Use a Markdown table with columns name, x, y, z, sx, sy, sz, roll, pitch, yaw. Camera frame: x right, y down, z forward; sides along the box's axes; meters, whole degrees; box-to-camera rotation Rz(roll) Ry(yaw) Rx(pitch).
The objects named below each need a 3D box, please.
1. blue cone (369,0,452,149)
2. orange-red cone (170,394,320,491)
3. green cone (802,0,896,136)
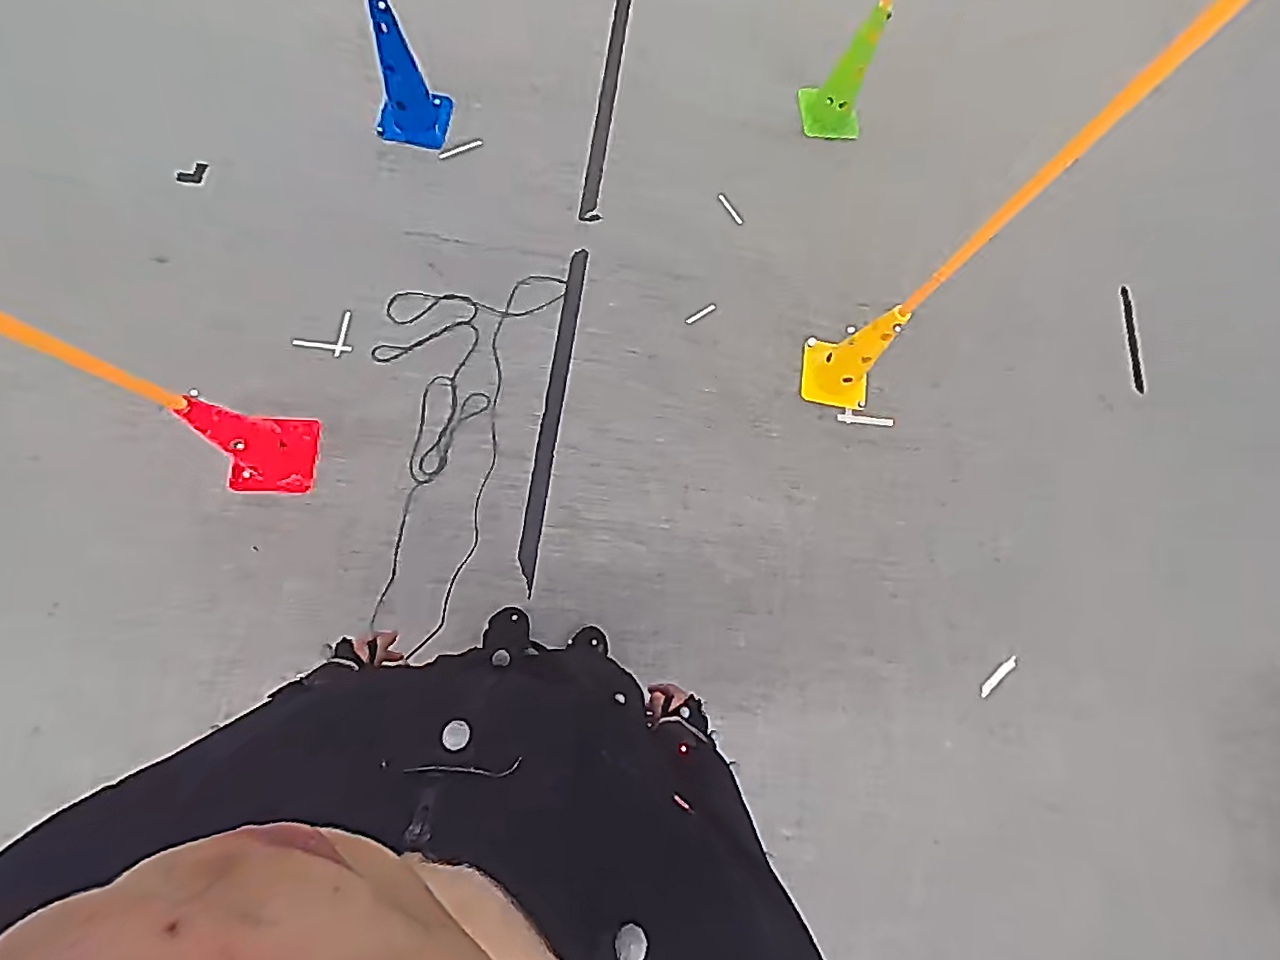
| name | x | y | z | sx | sy | sz | roll | pitch | yaw |
| --- | --- | --- | --- | --- | --- | --- | --- | --- | --- |
| blue cone | -0.669 | -1.154 | 1.510 | 0.193 | 0.380 | 0.192 | 11 | 76 | -4 |
| orange-red cone | -0.909 | -0.111 | 1.213 | 0.199 | 0.360 | 0.198 | 3 | 77 | -7 |
| green cone | 0.676 | -1.306 | 1.688 | 0.200 | 0.368 | 0.202 | -2 | 79 | -7 |
